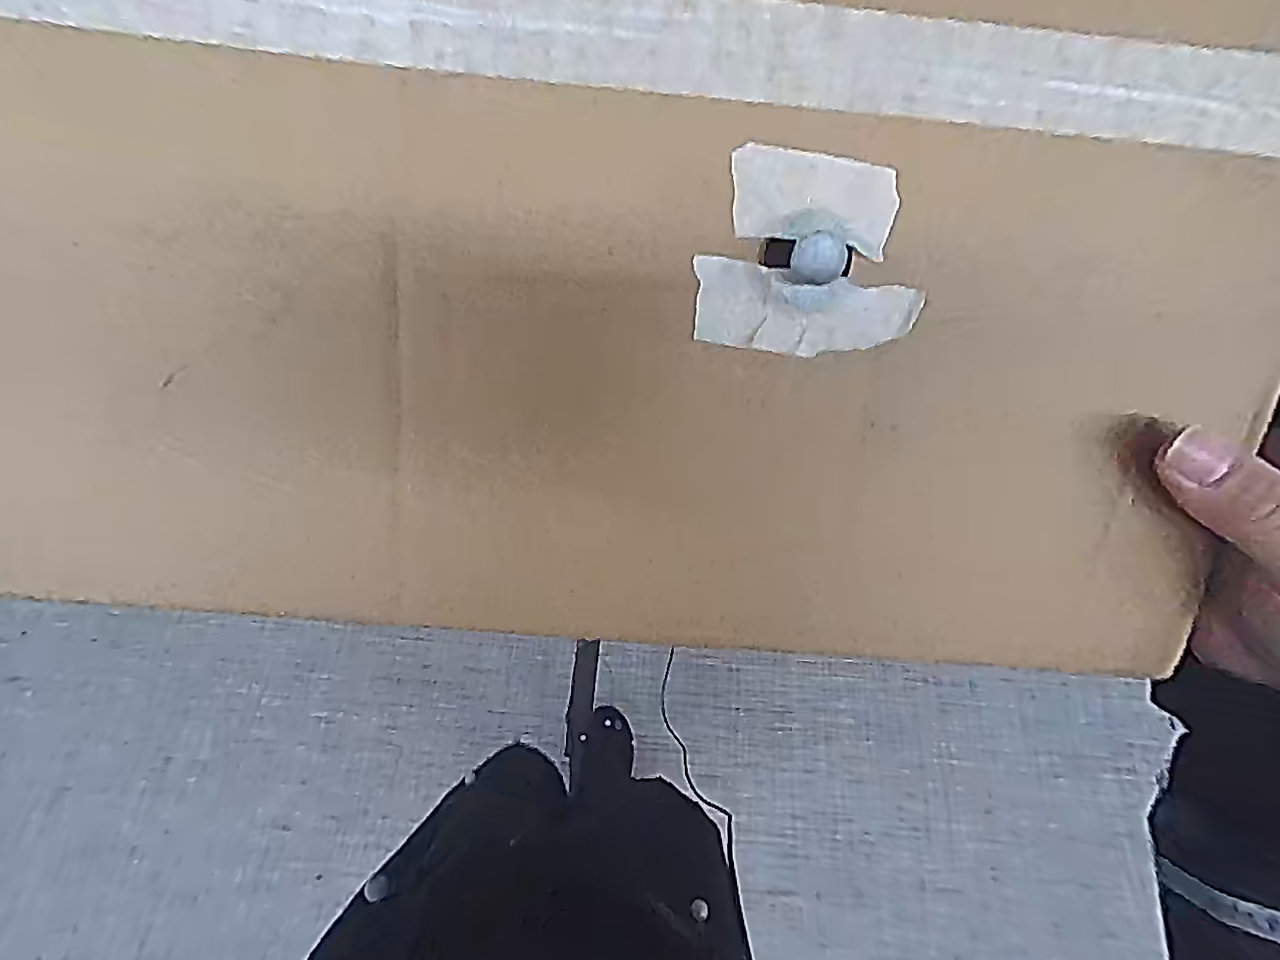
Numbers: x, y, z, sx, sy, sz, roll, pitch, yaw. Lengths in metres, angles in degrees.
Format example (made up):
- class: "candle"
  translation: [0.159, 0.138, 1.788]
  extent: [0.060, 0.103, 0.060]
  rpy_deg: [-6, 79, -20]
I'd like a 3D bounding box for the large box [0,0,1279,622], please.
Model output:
- class: "large box"
  translation: [-0.023, -0.143, 0.286]
  extent: [0.408, 0.320, 0.320]
  rpy_deg: [4, 104, -4]
